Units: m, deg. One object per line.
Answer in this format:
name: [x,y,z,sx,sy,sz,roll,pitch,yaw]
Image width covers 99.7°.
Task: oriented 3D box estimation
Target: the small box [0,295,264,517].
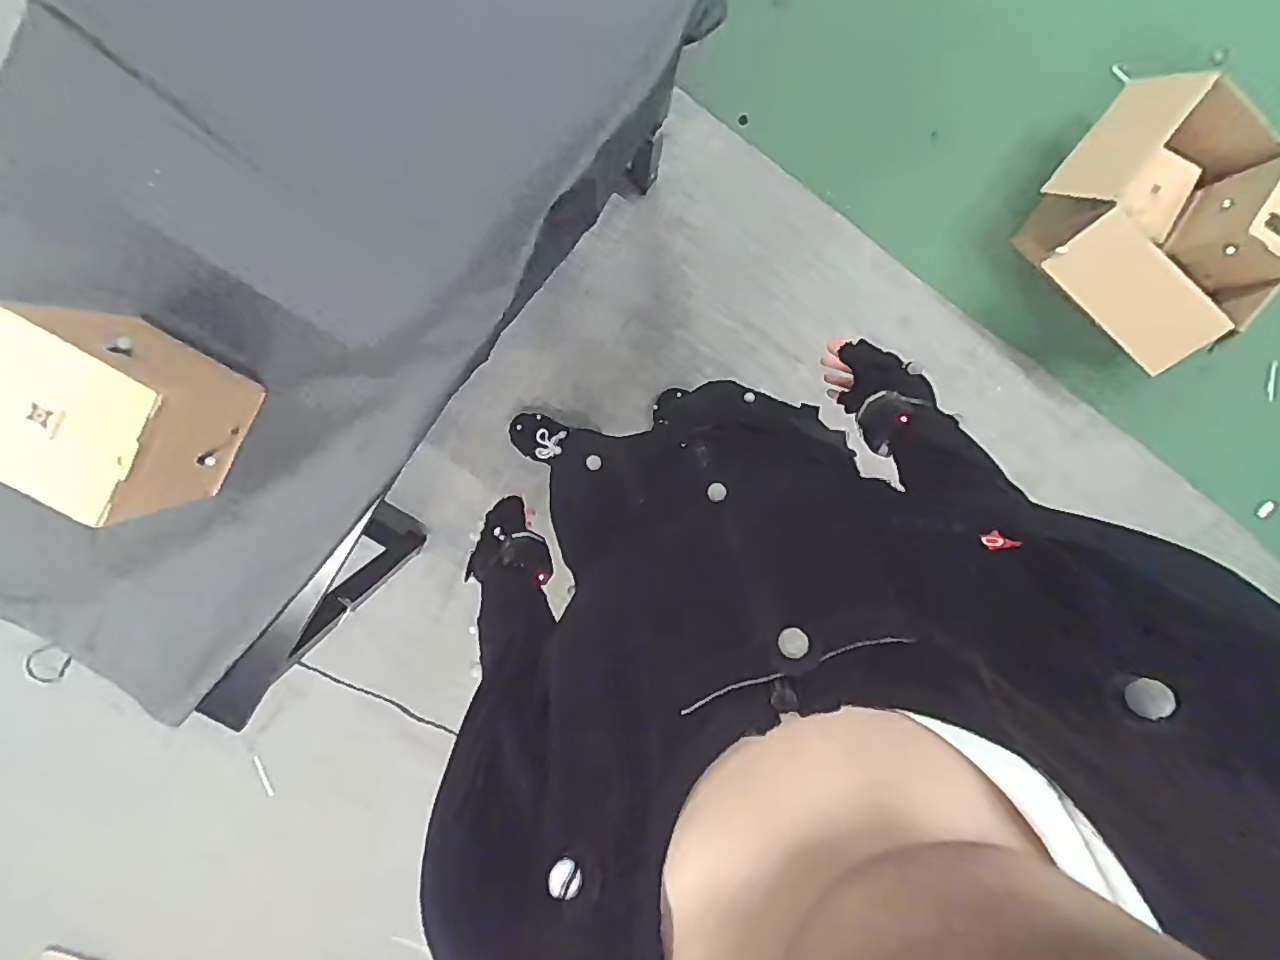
small box: [-0.597,-0.083,0.626,0.179,0.176,0.168,31,97,-8]
